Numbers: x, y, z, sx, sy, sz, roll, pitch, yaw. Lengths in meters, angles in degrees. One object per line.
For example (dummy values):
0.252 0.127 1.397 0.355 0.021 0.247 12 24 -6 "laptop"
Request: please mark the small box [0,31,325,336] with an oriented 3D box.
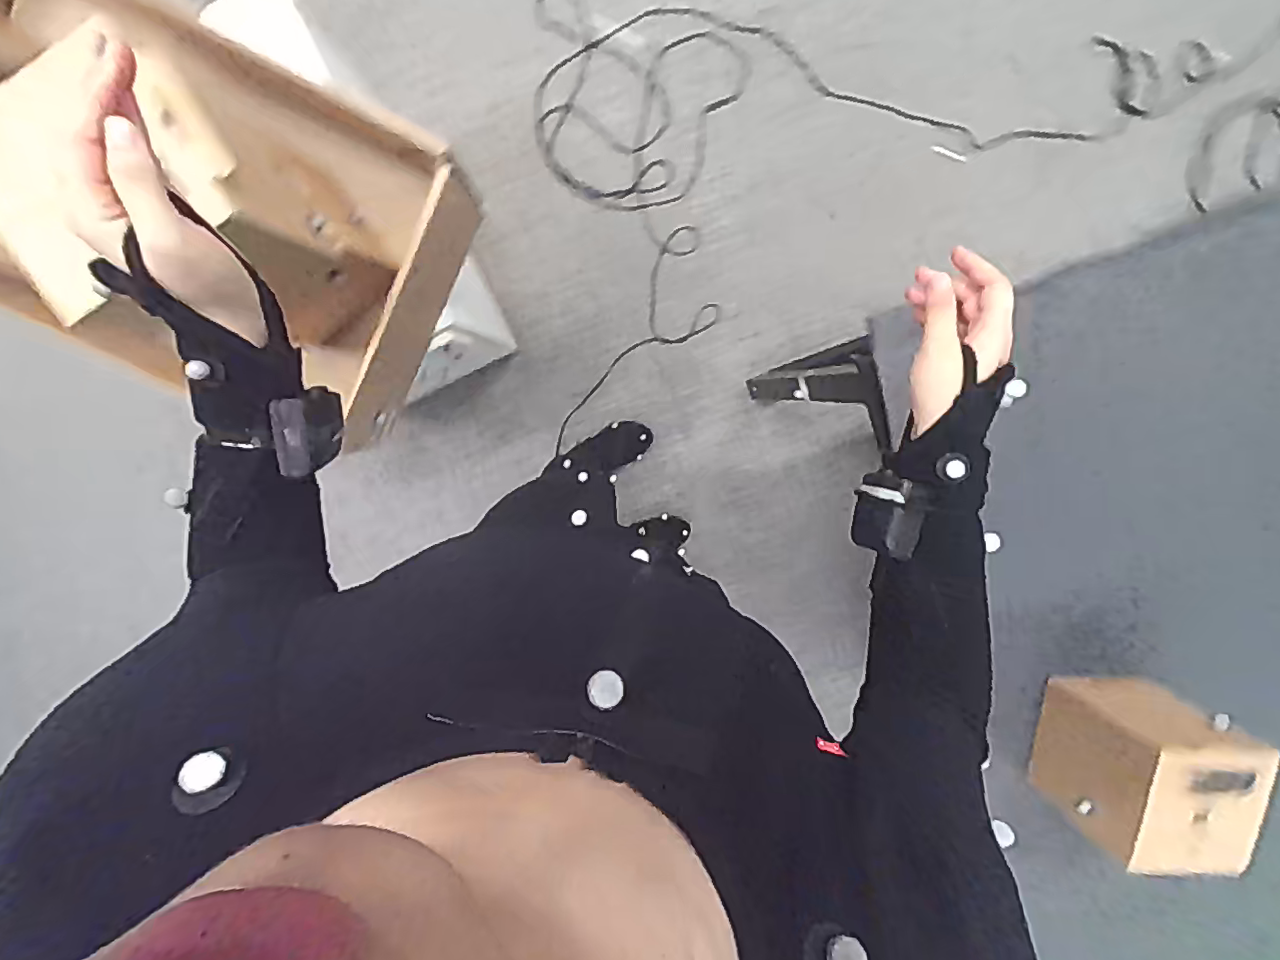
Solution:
-0.444 -0.256 0.519 0.179 0.176 0.168 -29 98 6 "small box"
